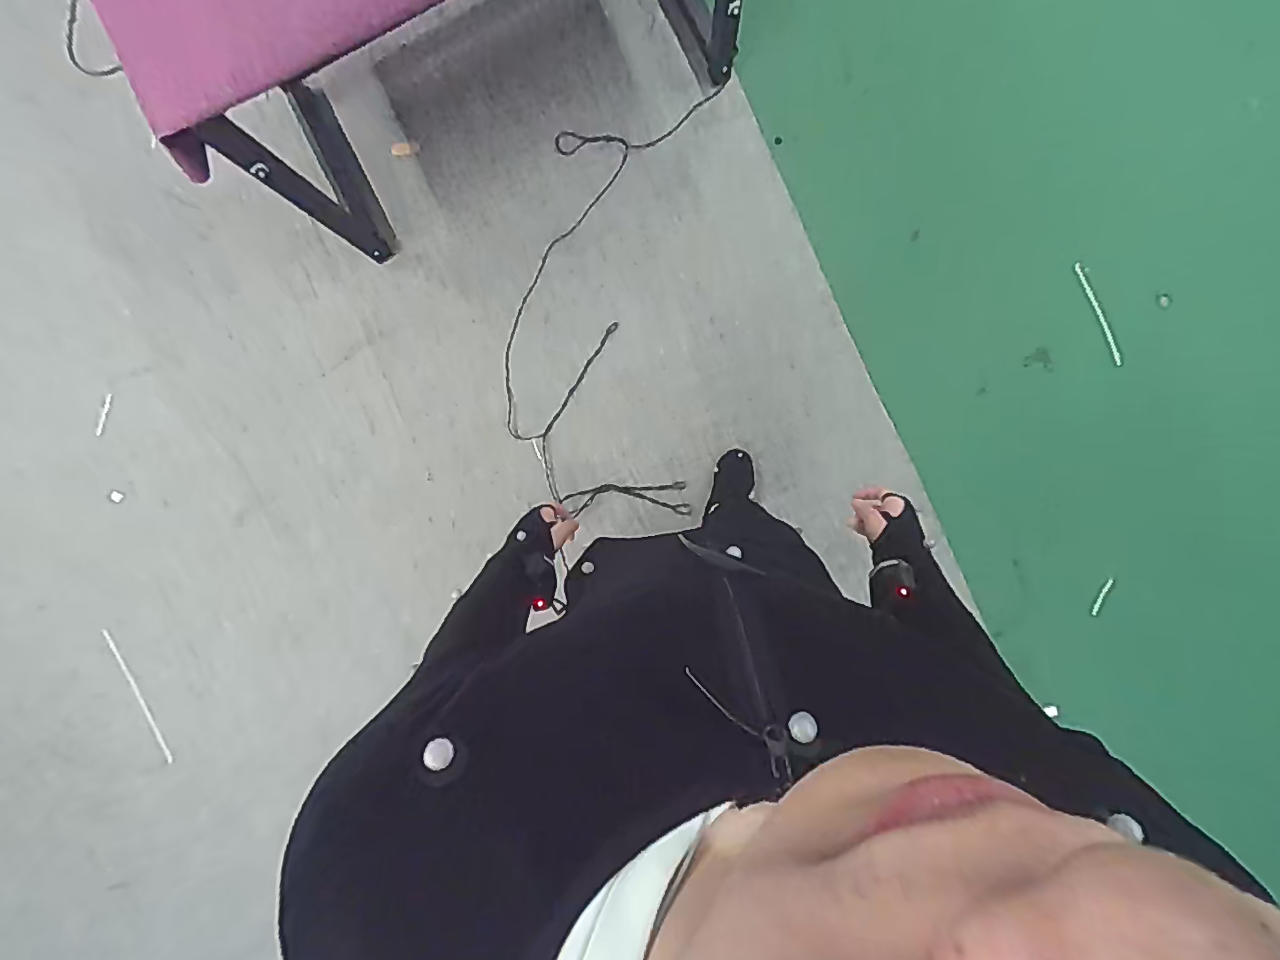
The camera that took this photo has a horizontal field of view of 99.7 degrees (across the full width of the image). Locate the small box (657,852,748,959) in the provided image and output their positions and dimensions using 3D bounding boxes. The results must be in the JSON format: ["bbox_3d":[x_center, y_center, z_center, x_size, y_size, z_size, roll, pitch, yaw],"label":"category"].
[{"bbox_3d":[0.155,1.110,1.396,0.168,0.176,0.179,-30,90,5],"label":"small box"}]
